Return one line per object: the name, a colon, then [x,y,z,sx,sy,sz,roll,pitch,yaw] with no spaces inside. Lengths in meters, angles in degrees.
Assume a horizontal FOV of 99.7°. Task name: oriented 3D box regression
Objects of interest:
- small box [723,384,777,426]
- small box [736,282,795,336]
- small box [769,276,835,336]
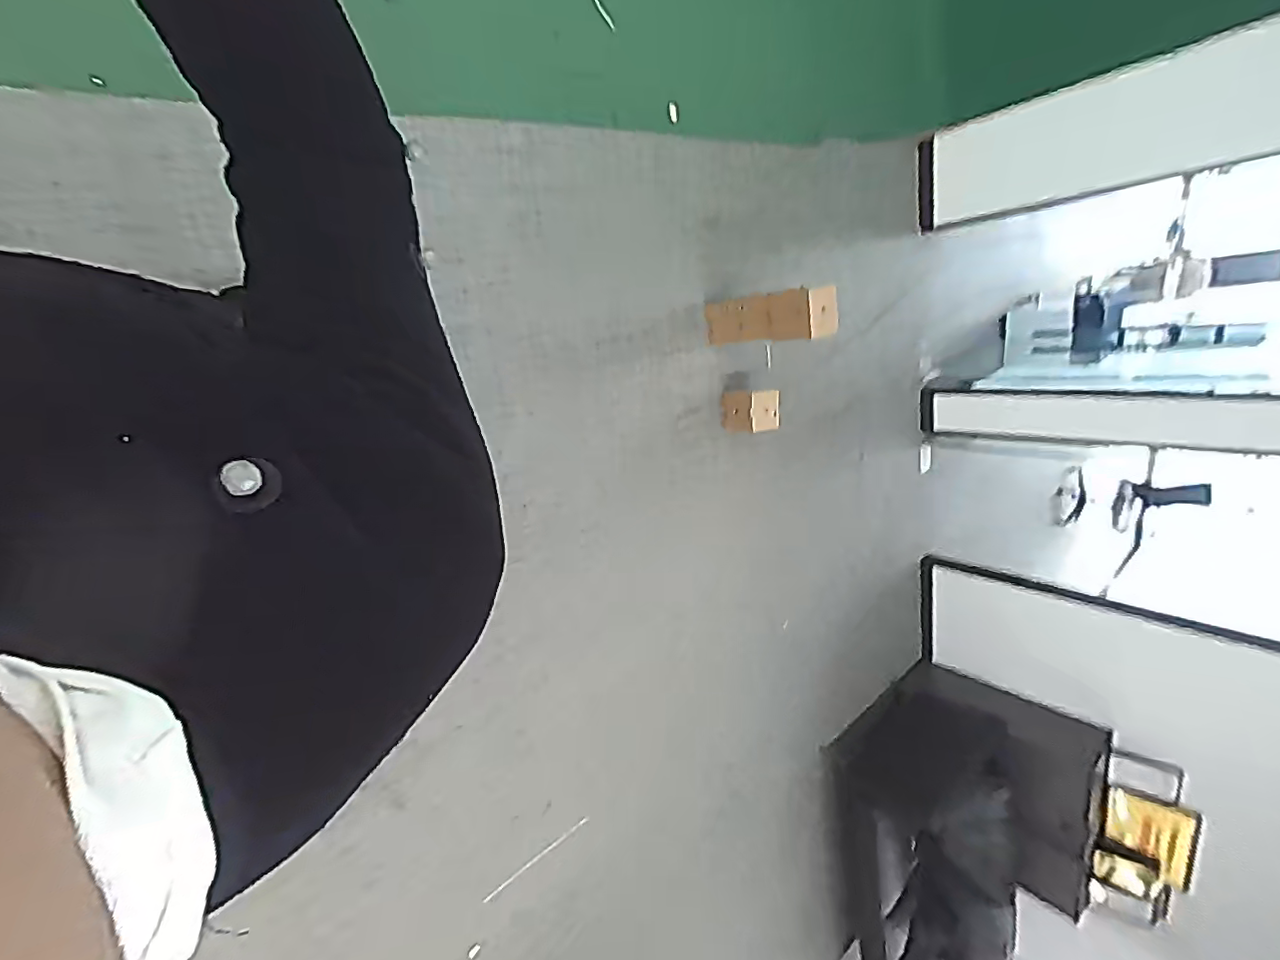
small box: [0.471,-0.326,2.337,0.179,0.176,0.168,-13,107,-35]
small box: [0.485,-0.655,2.078,0.179,0.176,0.168,-25,113,-34]
small box: [0.580,-0.622,1.947,0.168,0.176,0.179,-23,112,-33]
